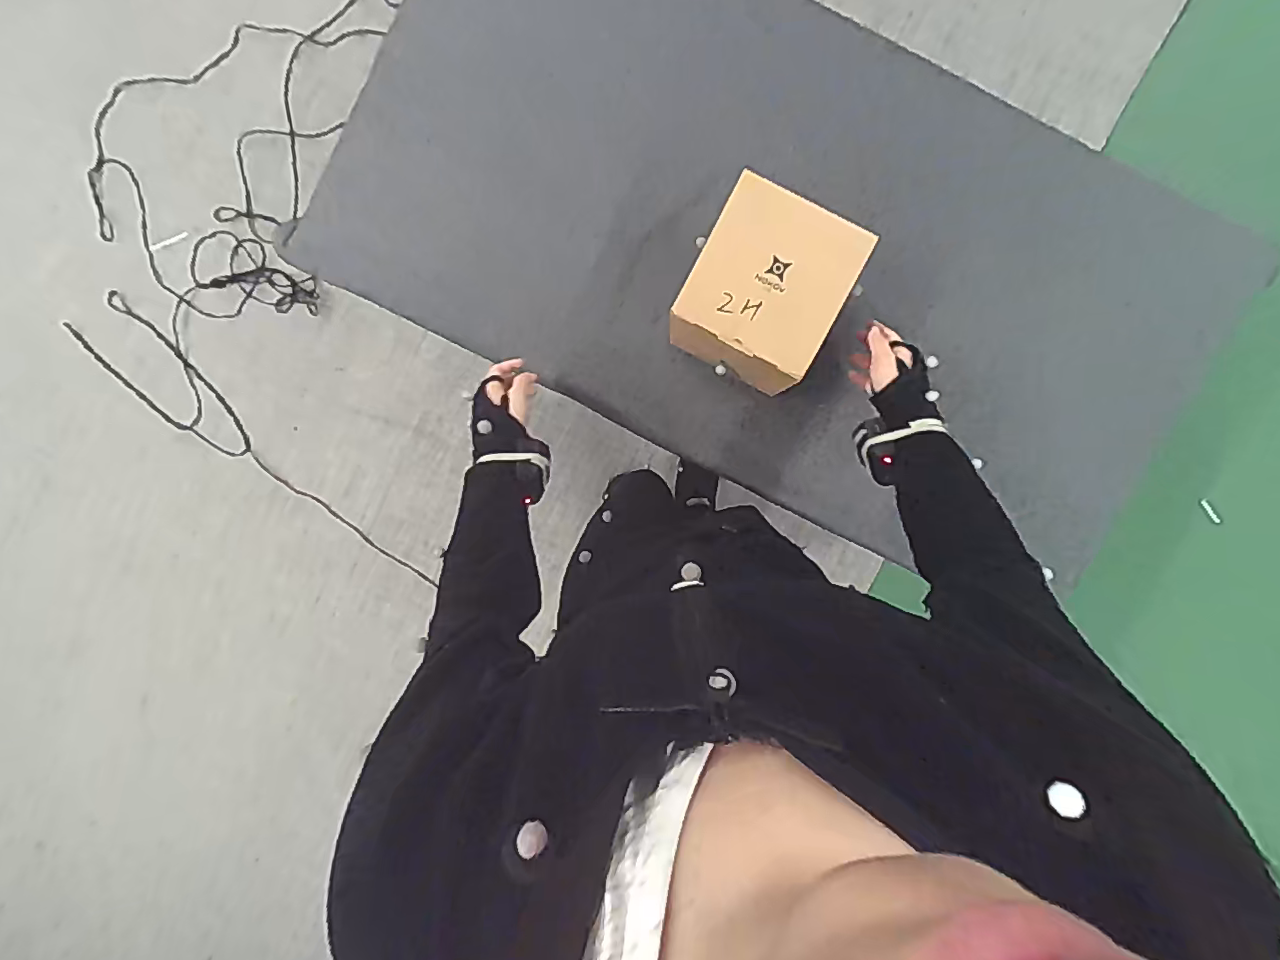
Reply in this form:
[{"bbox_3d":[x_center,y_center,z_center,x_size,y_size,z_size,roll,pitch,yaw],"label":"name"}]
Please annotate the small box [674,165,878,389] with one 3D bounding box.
[{"bbox_3d":[0.149,-0.231,0.665,0.168,0.176,0.179,28,94,1],"label":"small box"}]
